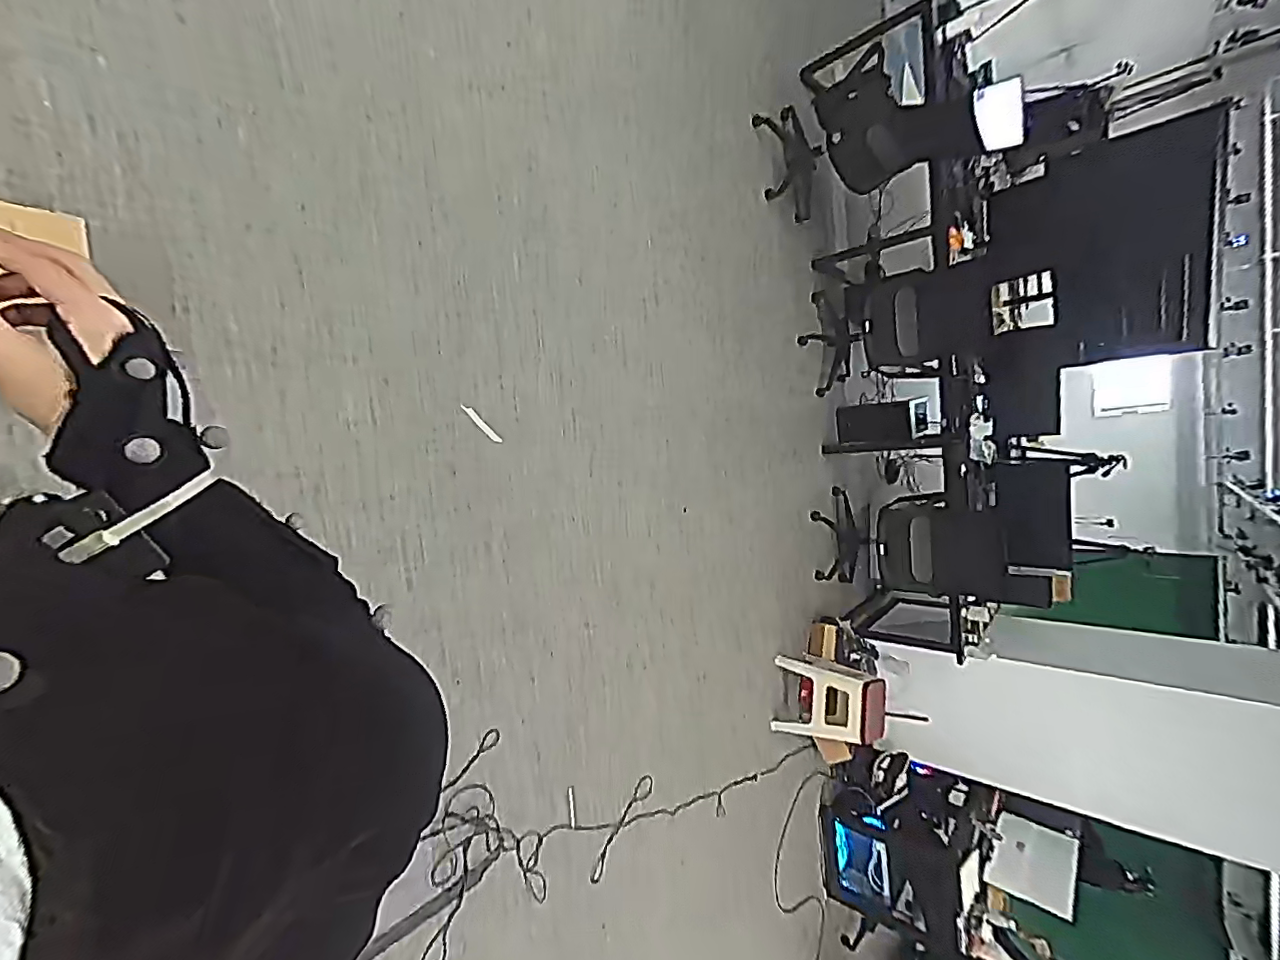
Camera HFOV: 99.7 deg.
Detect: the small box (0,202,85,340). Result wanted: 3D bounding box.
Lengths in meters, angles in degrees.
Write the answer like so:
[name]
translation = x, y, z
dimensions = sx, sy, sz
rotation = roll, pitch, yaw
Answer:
[small box]
translation = -1.027, -0.334, 0.876
dimensions = 0.168, 0.176, 0.179
rotation = -7, 94, -49
